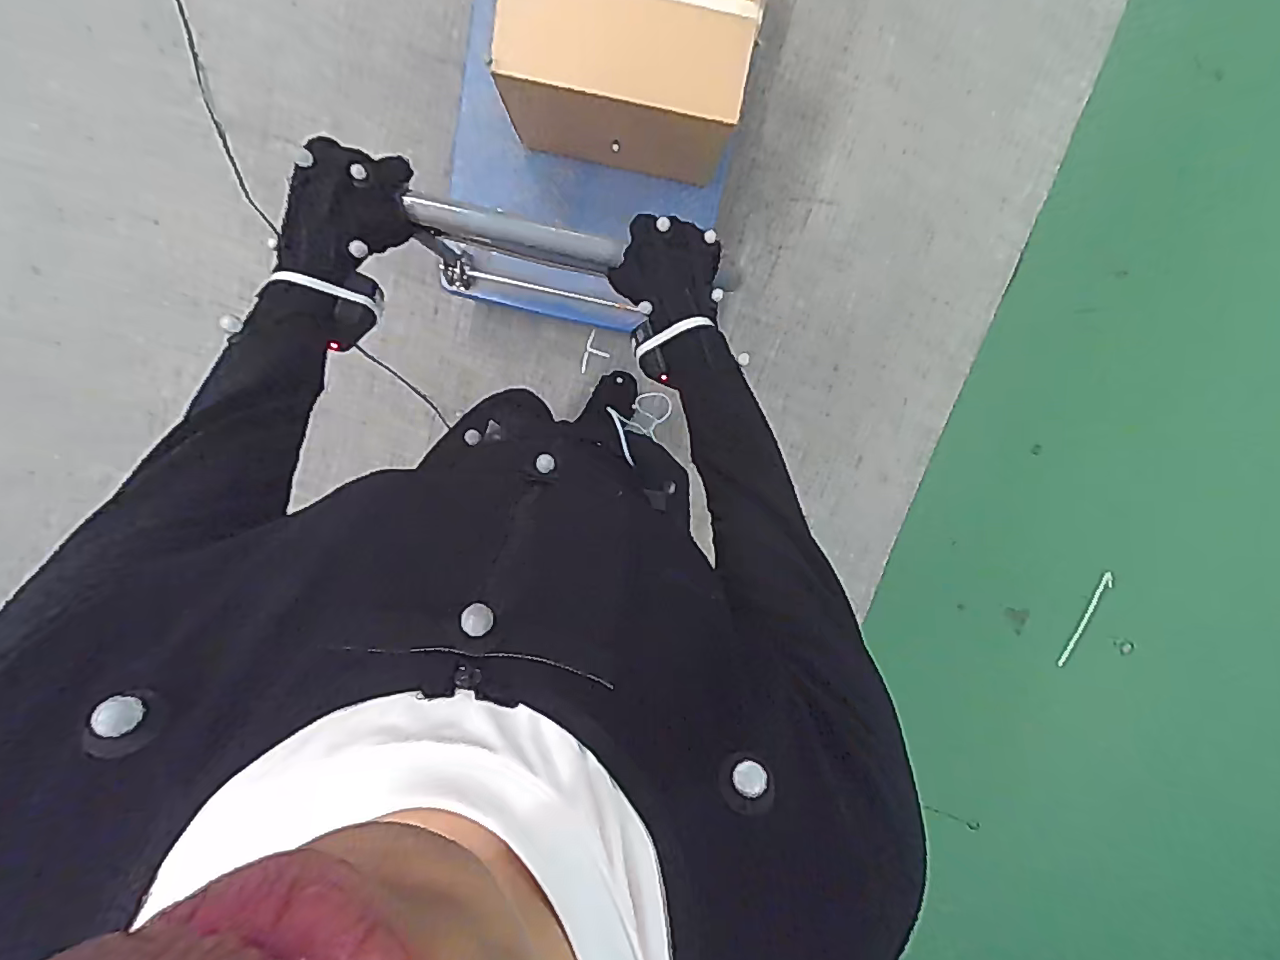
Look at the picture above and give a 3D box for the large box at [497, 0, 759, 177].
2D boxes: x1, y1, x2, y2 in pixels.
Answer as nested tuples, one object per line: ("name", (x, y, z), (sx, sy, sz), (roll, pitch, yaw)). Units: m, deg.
("large box", (-0.012, -0.798, 0.990), (0.408, 0.320, 0.320), (10, 101, -3))
